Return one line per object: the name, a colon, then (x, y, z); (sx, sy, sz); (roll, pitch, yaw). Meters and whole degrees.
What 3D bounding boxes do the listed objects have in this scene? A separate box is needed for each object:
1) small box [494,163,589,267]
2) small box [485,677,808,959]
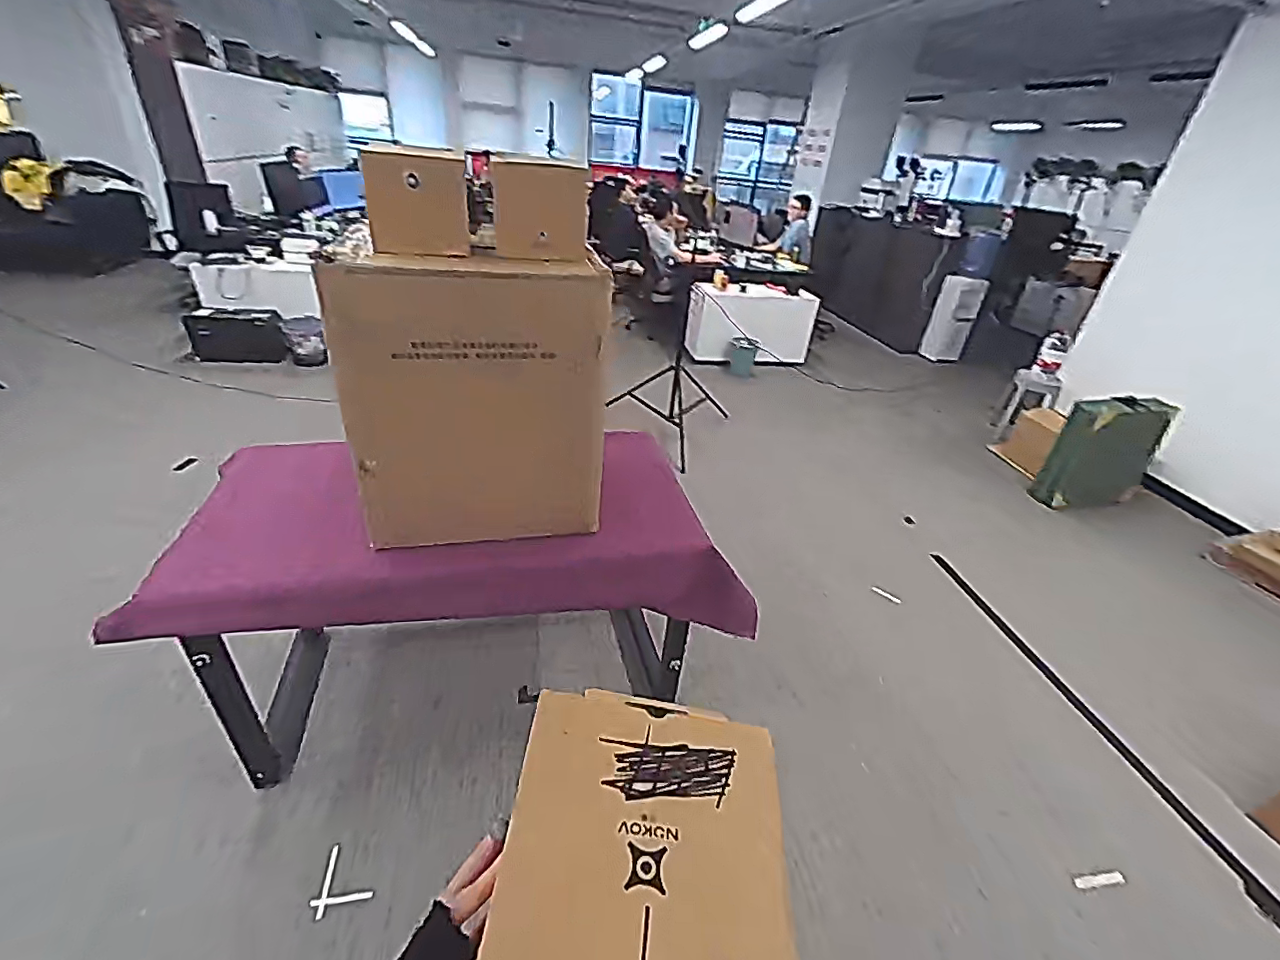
small box: (-0.205, -0.539, 1.106); (0.179, 0.176, 0.168); (-3, 33, -13)
small box: (-0.004, 0.267, 0.363); (0.168, 0.176, 0.179); (10, 37, -3)
